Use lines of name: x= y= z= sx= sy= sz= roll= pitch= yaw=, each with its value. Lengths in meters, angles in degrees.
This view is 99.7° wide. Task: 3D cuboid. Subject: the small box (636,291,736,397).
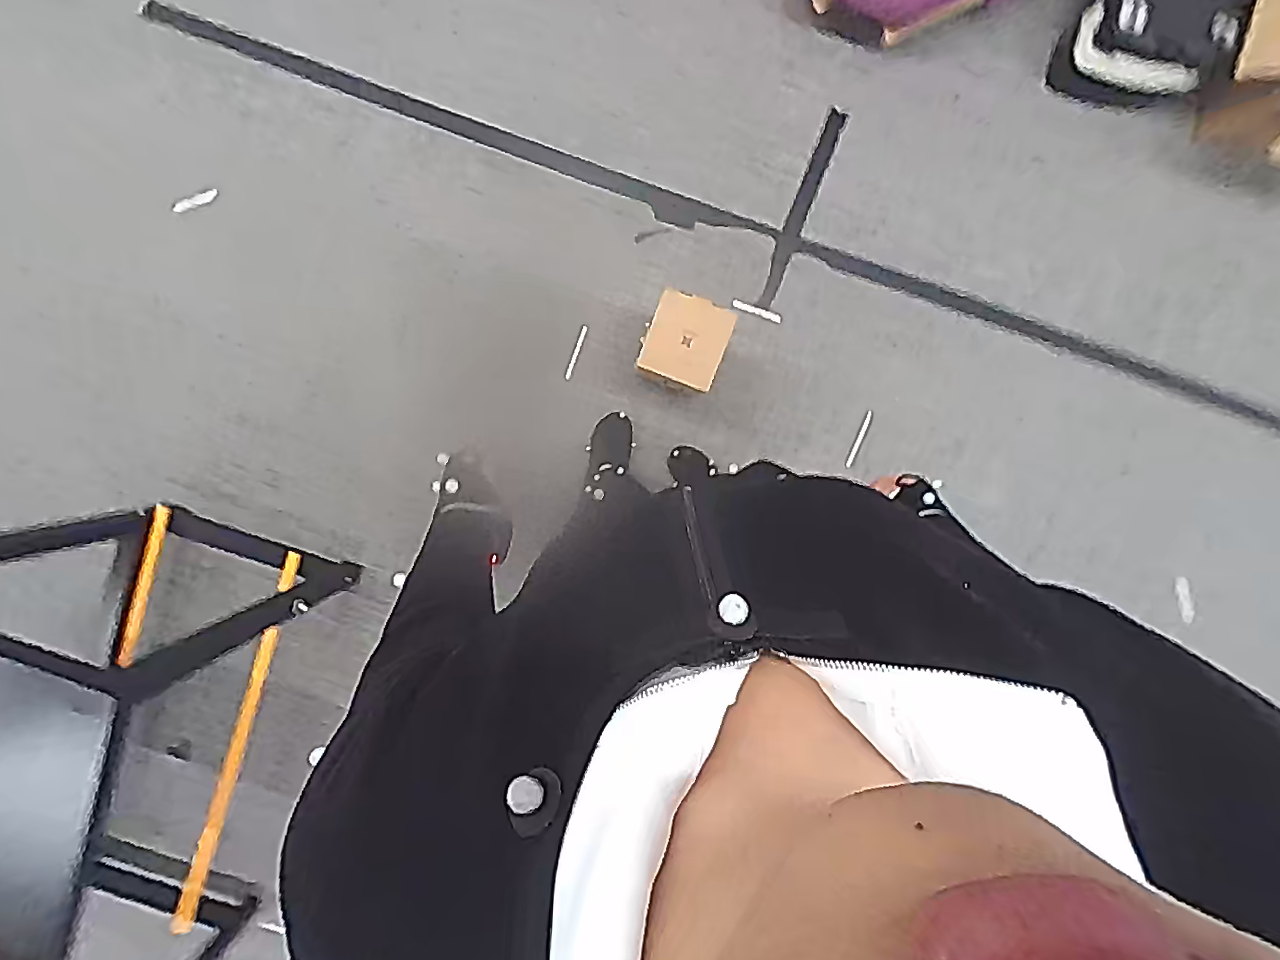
small box: x=0.099 y=-0.297 z=1.218 sx=0.168 sy=0.176 sz=0.179 roll=21 pitch=98 yaw=0

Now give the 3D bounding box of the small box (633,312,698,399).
small box: x=0.093 y=-0.314 z=1.381 sx=0.179 sy=0.176 sz=0.168 roll=22 pitch=96 yaw=-1
